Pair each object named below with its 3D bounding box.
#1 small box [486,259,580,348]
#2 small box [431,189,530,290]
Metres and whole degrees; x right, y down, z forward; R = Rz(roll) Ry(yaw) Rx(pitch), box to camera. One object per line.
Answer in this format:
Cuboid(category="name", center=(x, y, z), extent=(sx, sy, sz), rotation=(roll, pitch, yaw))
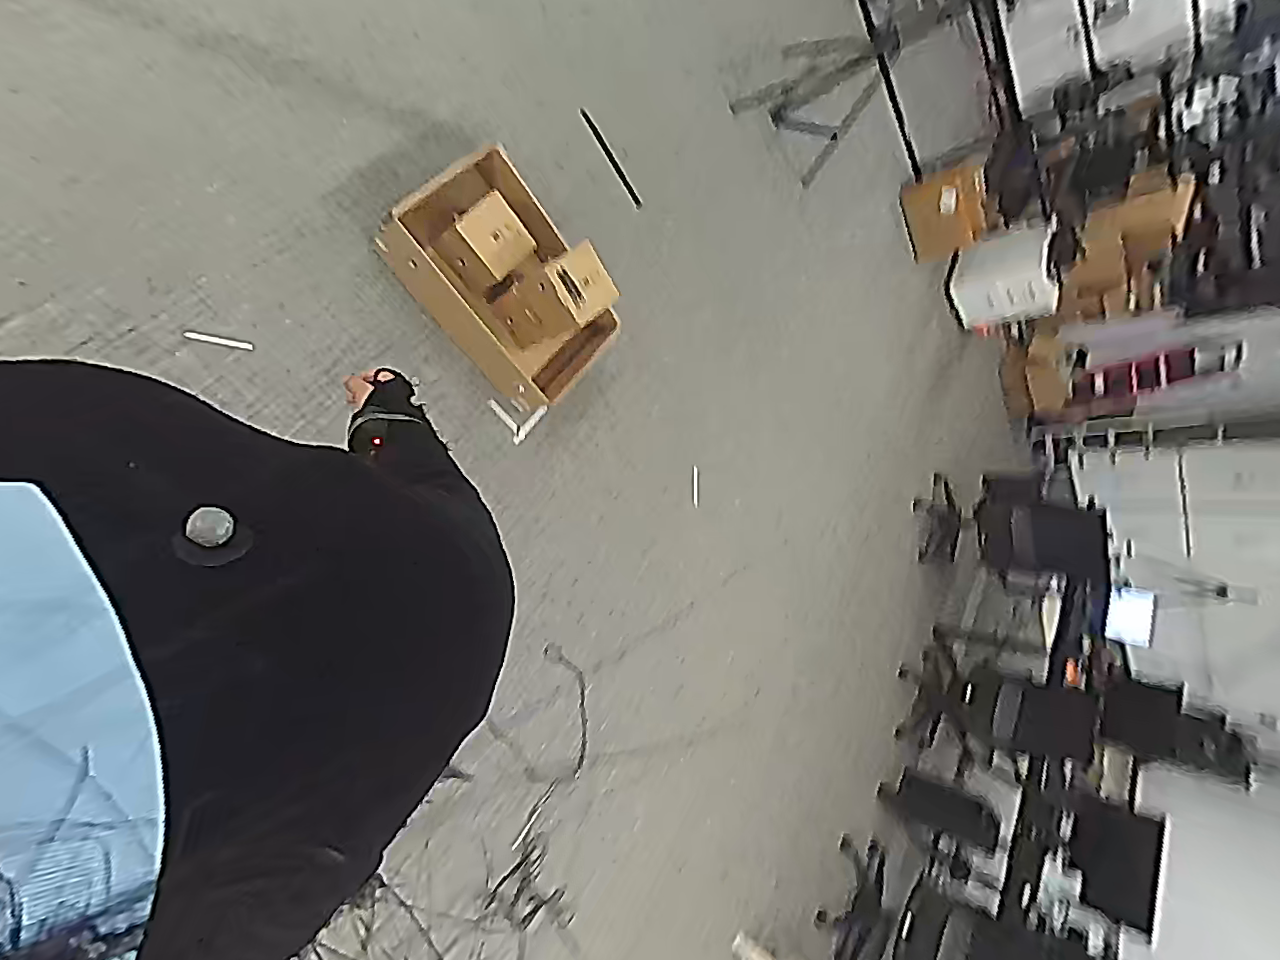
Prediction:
Cuboid(category="small box", center=(-0.320, -0.517, 1.599), extent=(0.179, 0.176, 0.168), rotation=(-50, 118, -28))
Cuboid(category="small box", center=(-0.445, -0.651, 1.483), extent=(0.168, 0.176, 0.179), rotation=(51, 59, -32))
